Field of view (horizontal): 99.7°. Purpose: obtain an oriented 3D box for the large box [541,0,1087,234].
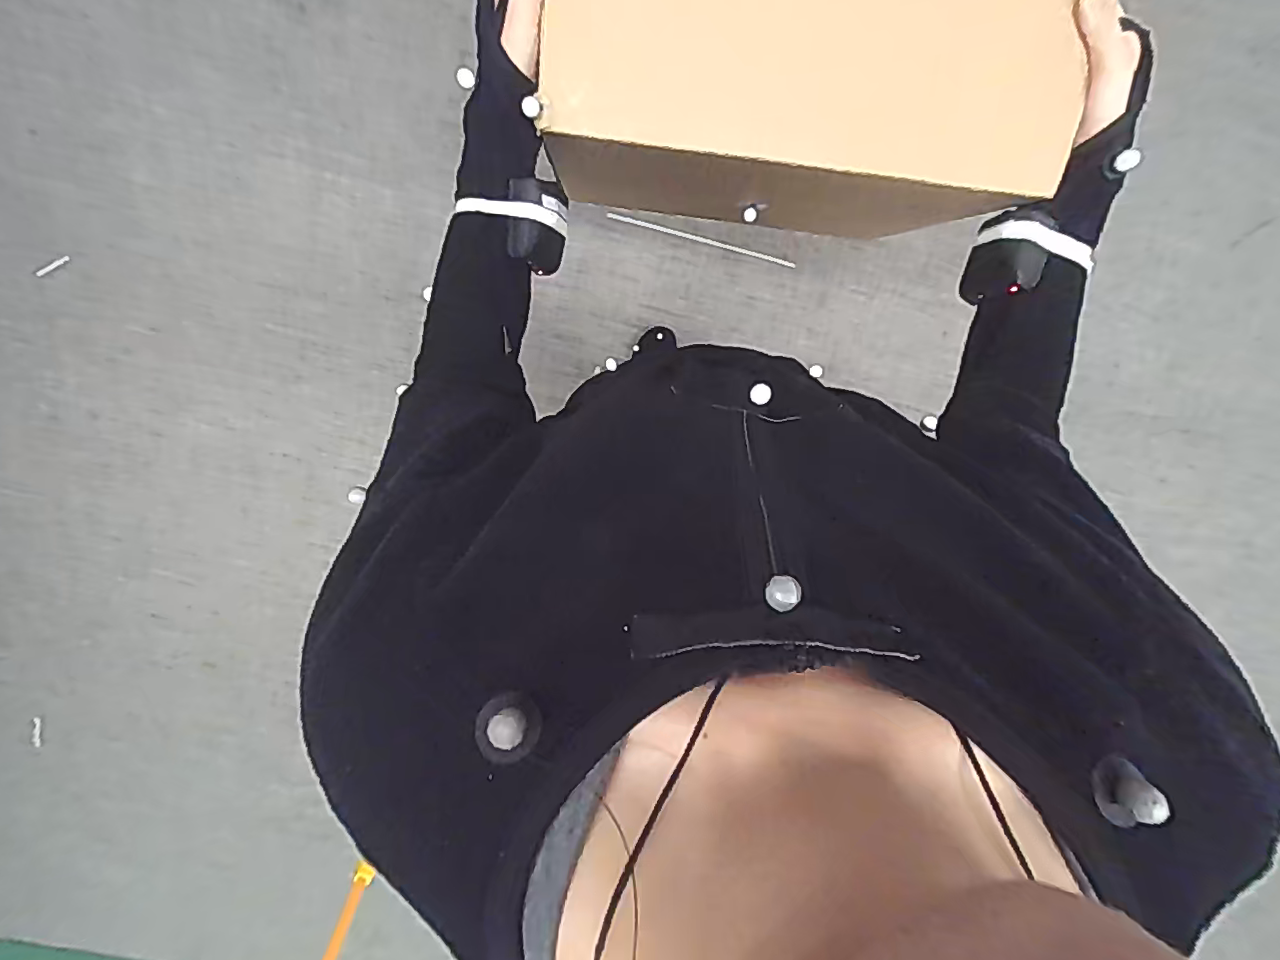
[{"bbox_3d":[0.130,-0.432,0.518,0.408,0.320,0.320,4,107,-4],"label":"large box"}]
